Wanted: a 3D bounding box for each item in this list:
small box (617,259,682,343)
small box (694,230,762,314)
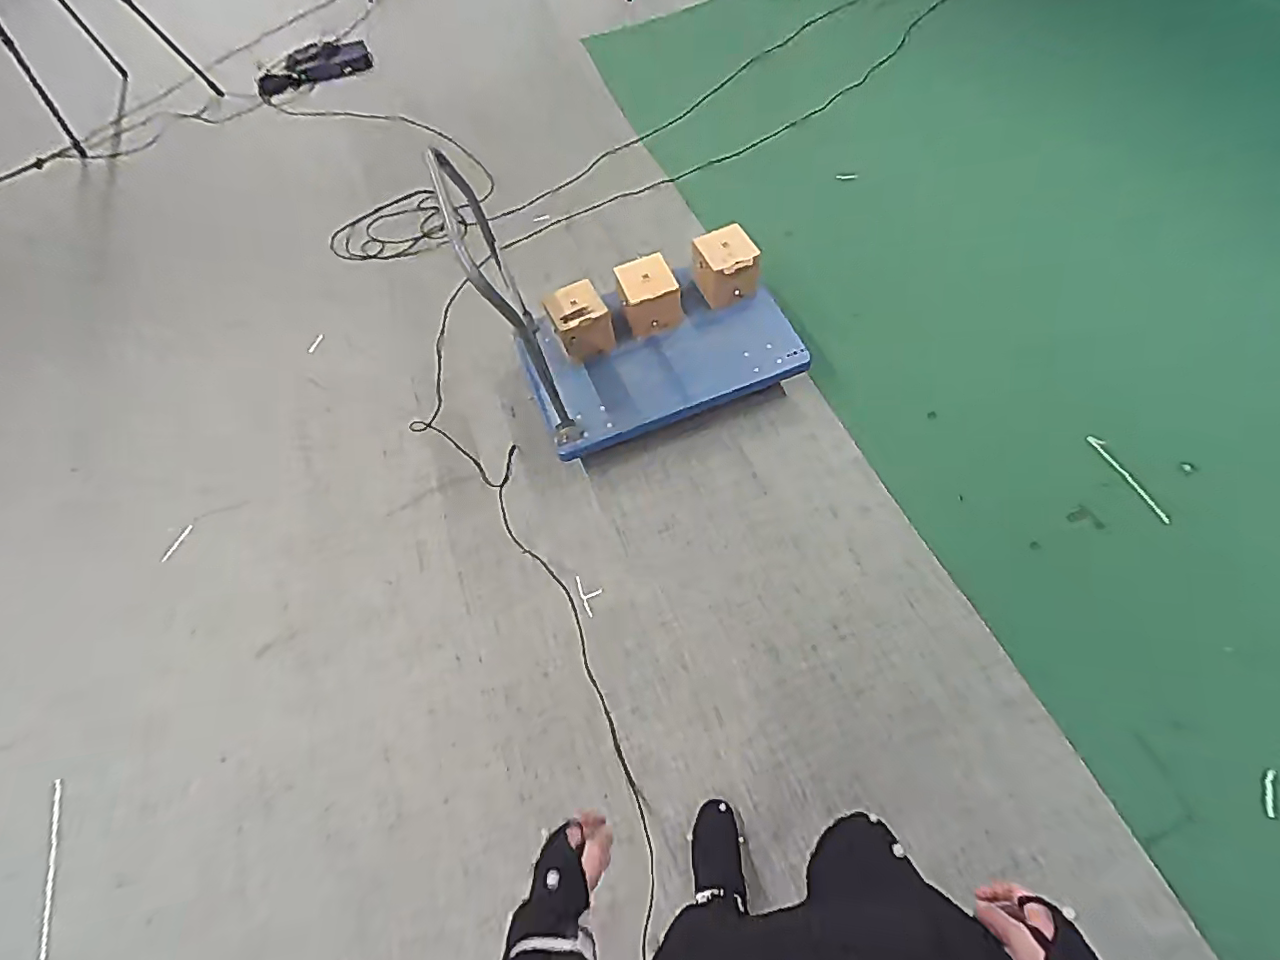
[{"bbox_3d":[0.032,-0.589,1.795,0.168,0.176,0.179,-21,64,-5],"label":"small box"},{"bbox_3d":[0.290,-0.697,1.819,0.168,0.176,0.179,-22,63,-4],"label":"small box"}]
